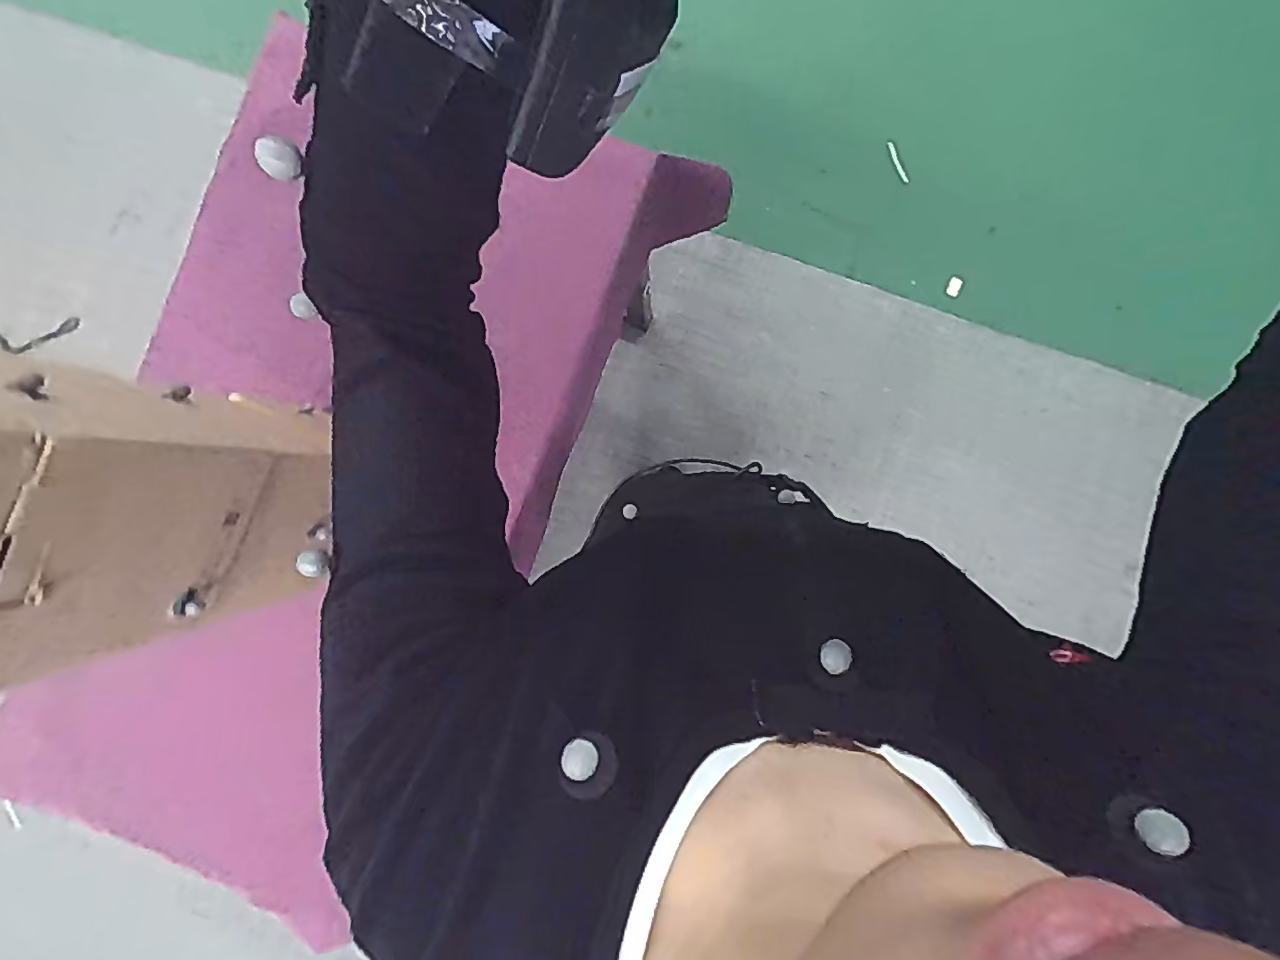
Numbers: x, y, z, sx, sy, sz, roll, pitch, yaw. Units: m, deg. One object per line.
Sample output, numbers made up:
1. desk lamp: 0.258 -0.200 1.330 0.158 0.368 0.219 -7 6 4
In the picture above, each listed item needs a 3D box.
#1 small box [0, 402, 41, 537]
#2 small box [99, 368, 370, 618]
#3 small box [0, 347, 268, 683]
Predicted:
1. small box: -0.426 0.006 0.211 0.179 0.176 0.168 25 91 4
2. small box: -0.415 0.012 0.538 0.179 0.176 0.168 23 91 3
3. small box: -0.413 0.009 0.374 0.179 0.176 0.168 24 91 4
